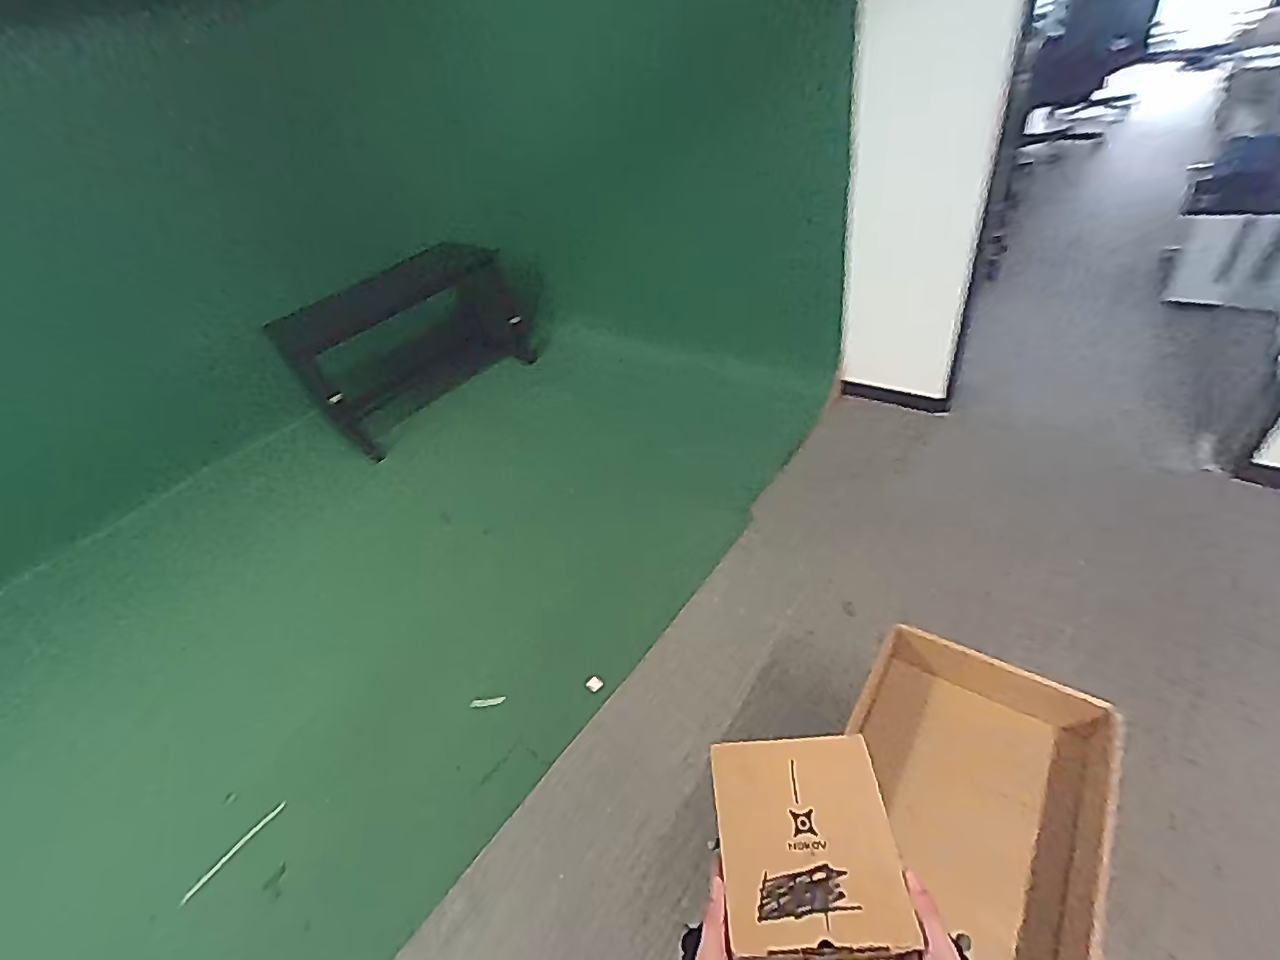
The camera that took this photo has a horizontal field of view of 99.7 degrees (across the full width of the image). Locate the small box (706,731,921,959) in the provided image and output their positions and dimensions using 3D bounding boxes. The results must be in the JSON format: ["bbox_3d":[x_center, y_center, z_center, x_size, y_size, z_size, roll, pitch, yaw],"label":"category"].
[{"bbox_3d":[0.165,0.392,0.573,0.168,0.176,0.179,-7,45,3],"label":"small box"}]
